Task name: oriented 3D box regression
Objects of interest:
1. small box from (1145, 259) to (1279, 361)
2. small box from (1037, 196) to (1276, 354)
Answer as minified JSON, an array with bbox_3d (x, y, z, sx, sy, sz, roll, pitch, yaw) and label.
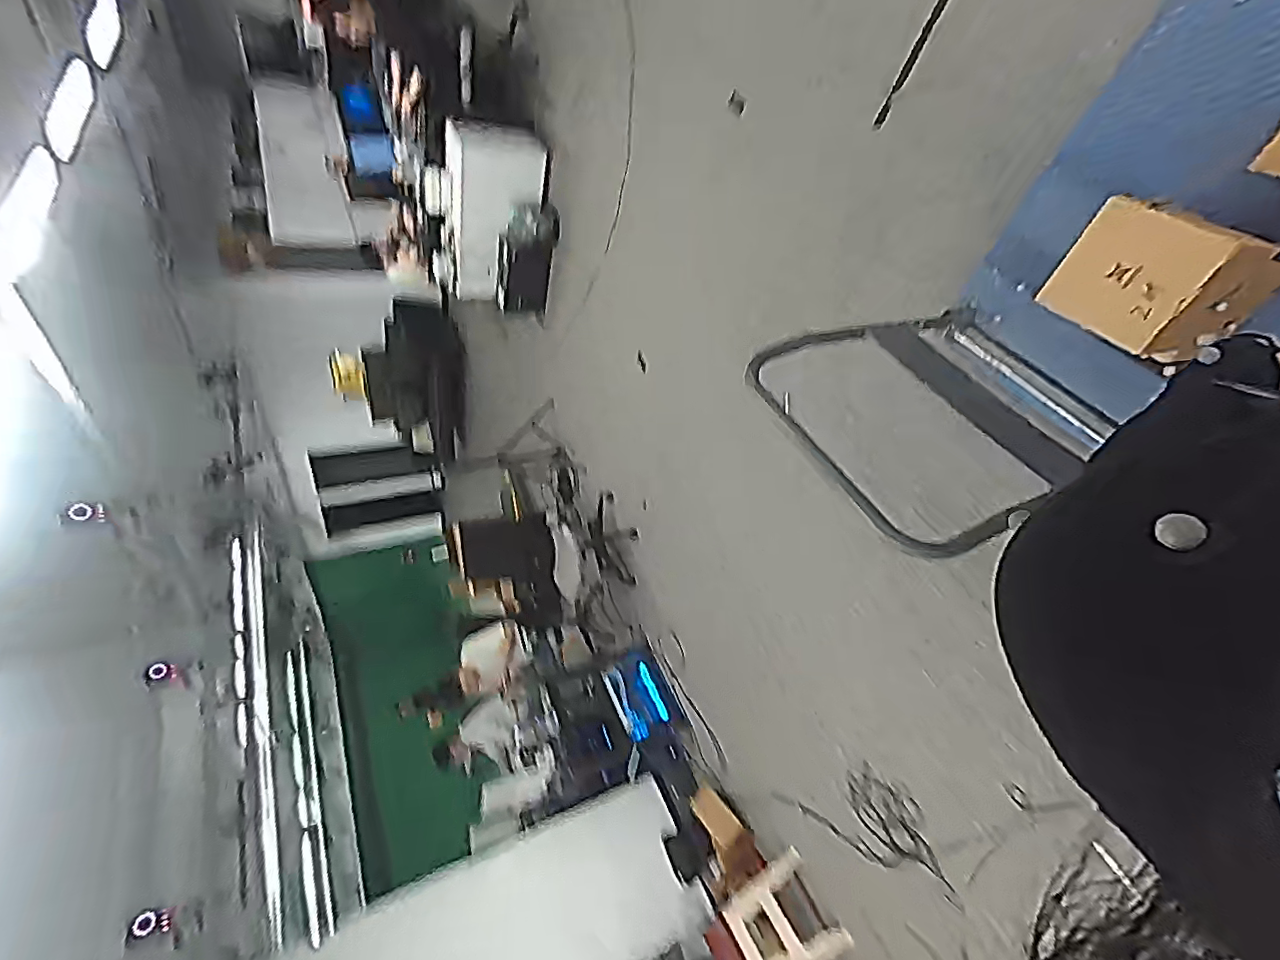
[{"bbox_3d":[0.911,-0.318,0.915,0.179,0.176,0.168,55,144,37],"label":"small box"},{"bbox_3d":[0.774,-0.309,0.821,0.179,0.176,0.168,55,144,36],"label":"small box"}]
